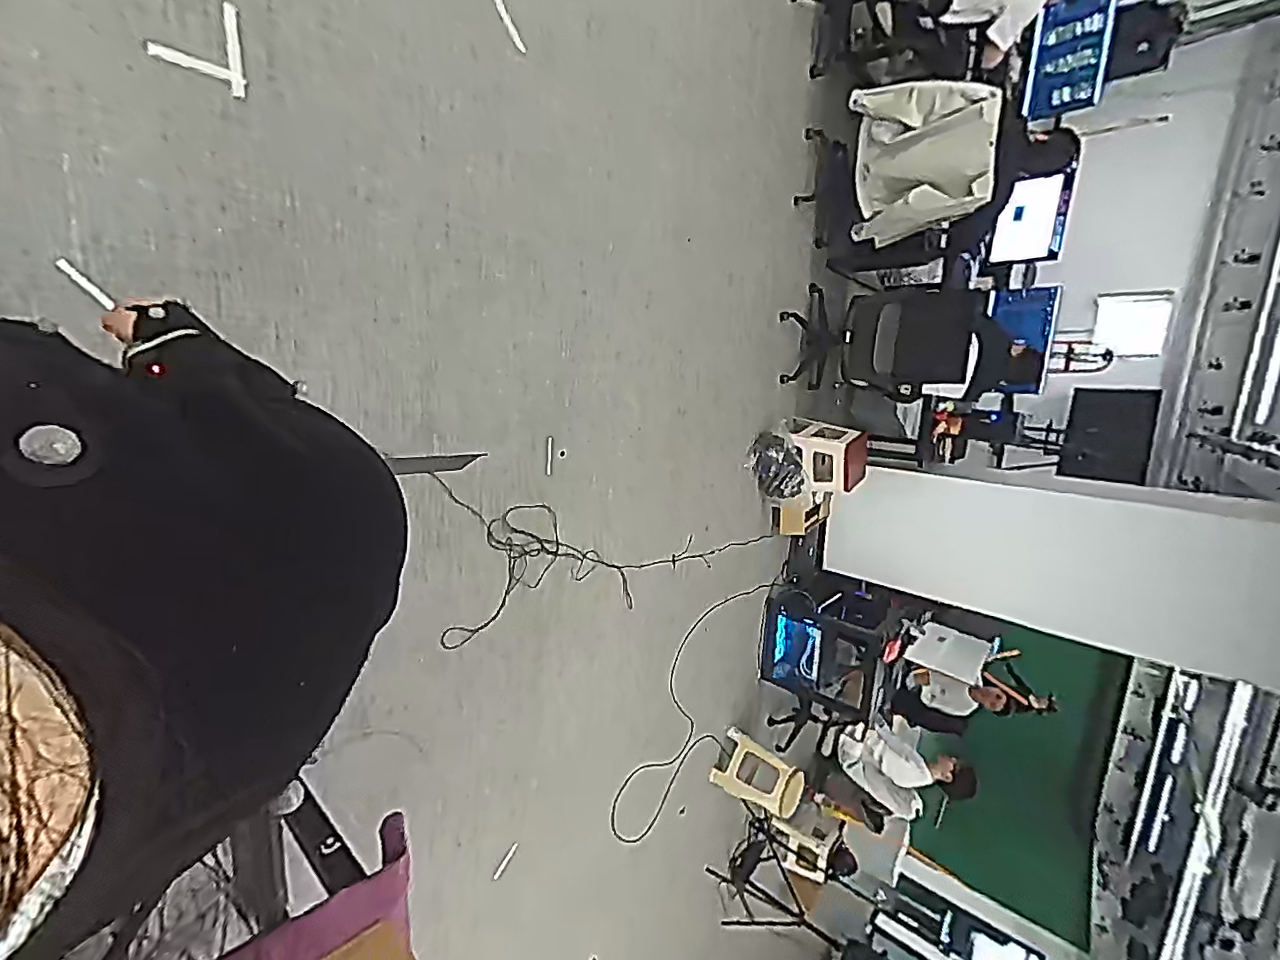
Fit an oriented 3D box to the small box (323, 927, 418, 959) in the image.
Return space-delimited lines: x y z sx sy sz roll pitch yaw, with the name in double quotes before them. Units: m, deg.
"small box" -0.425 0.833 0.813 0.168 0.176 0.179 -6 103 -49
